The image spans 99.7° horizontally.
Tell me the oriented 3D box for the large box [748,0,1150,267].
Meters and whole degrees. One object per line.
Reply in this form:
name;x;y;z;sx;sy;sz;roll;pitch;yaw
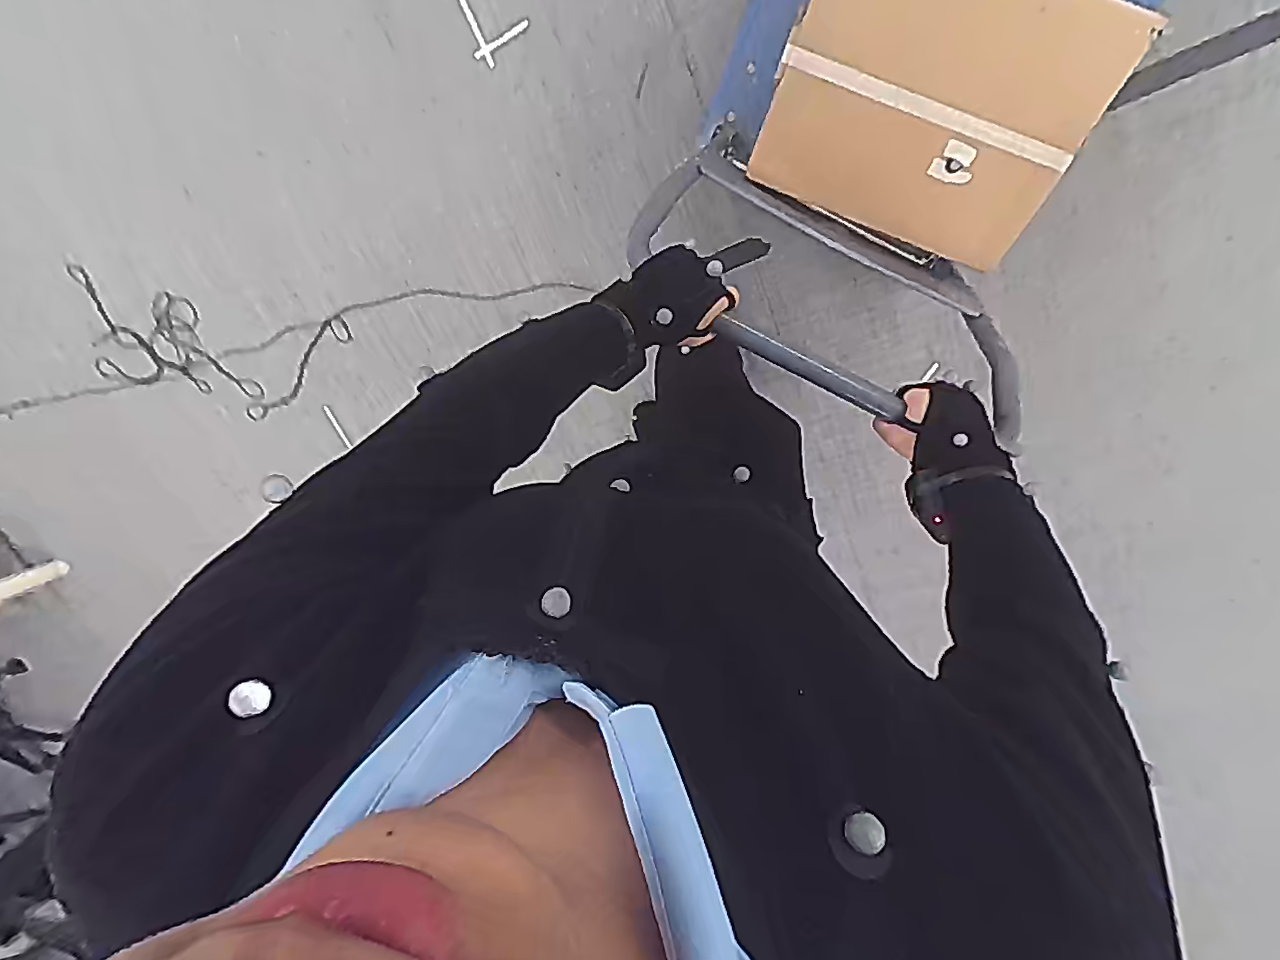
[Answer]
large box;0.423;-0.594;0.862;0.408;0.320;0.320;22;128;0
